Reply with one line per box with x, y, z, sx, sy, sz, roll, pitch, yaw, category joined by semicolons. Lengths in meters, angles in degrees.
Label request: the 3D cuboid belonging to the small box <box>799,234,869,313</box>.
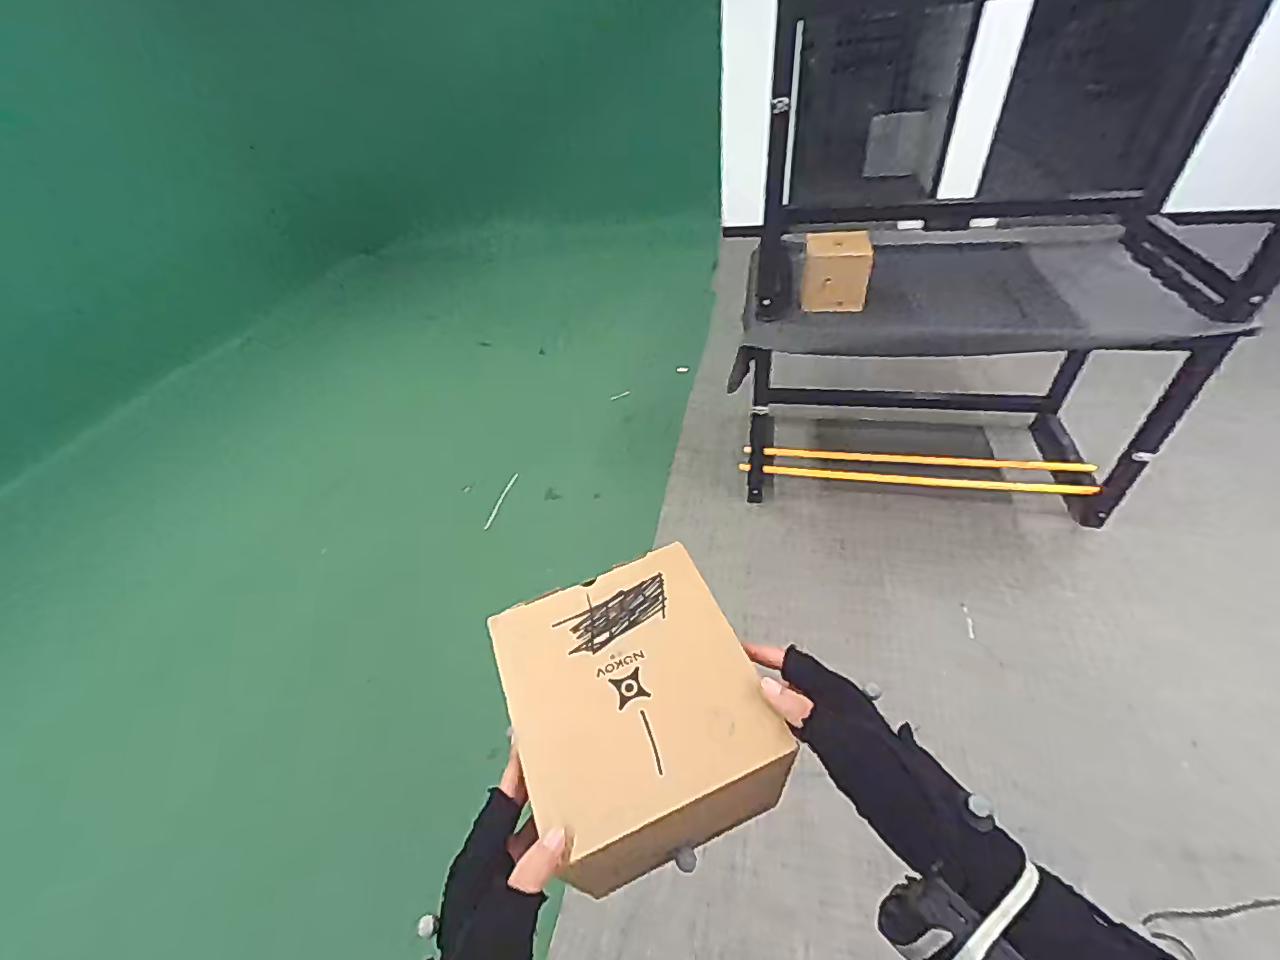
0.560;-0.600;1.576;0.168;0.176;0.179;3;43;11;small box
